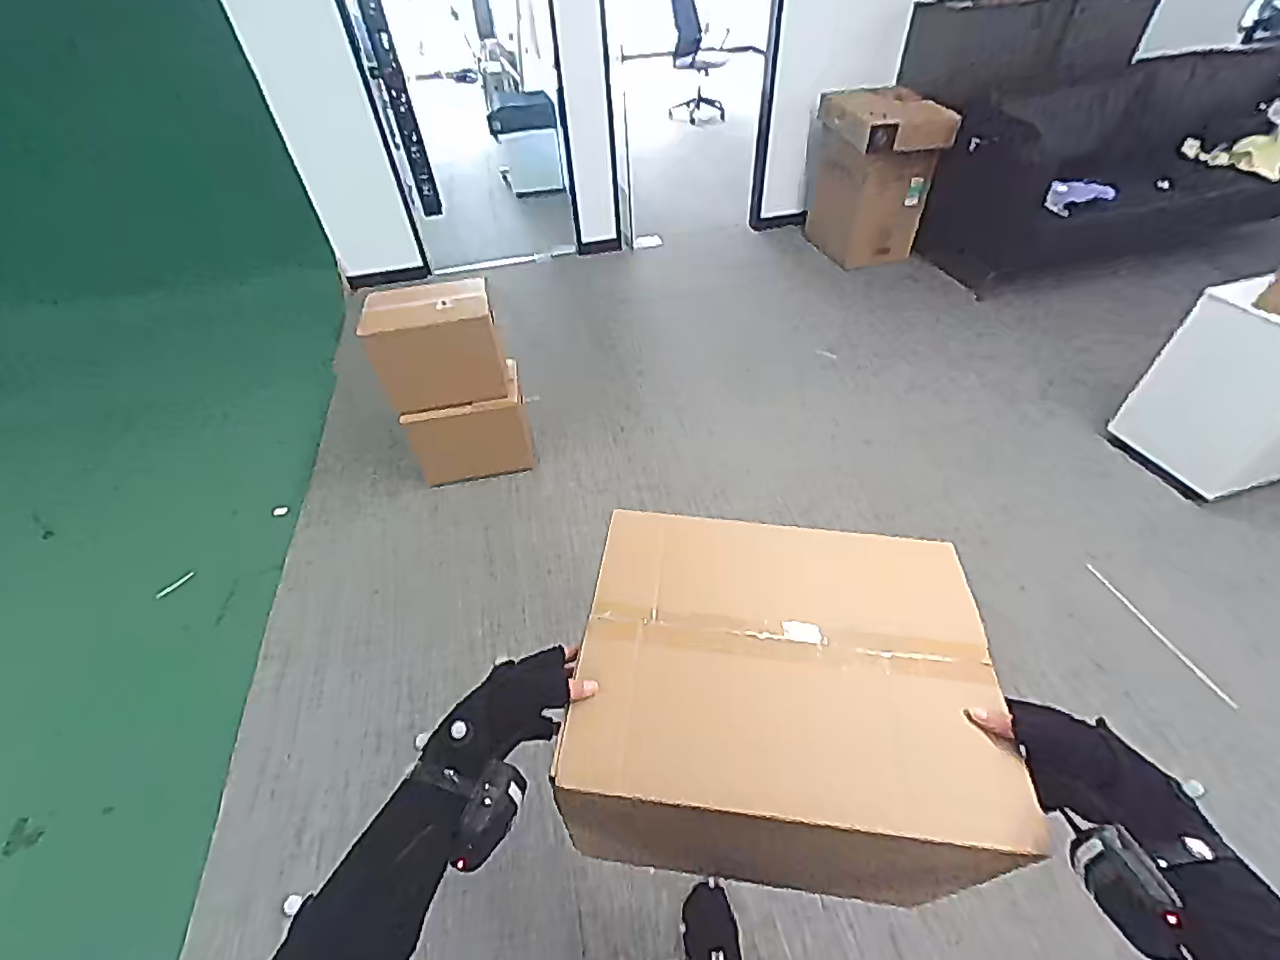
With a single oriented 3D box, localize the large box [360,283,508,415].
[{"bbox_3d":[-0.698,-0.460,1.890,0.408,0.320,0.320,-10,43,-8],"label":"large box"}]
